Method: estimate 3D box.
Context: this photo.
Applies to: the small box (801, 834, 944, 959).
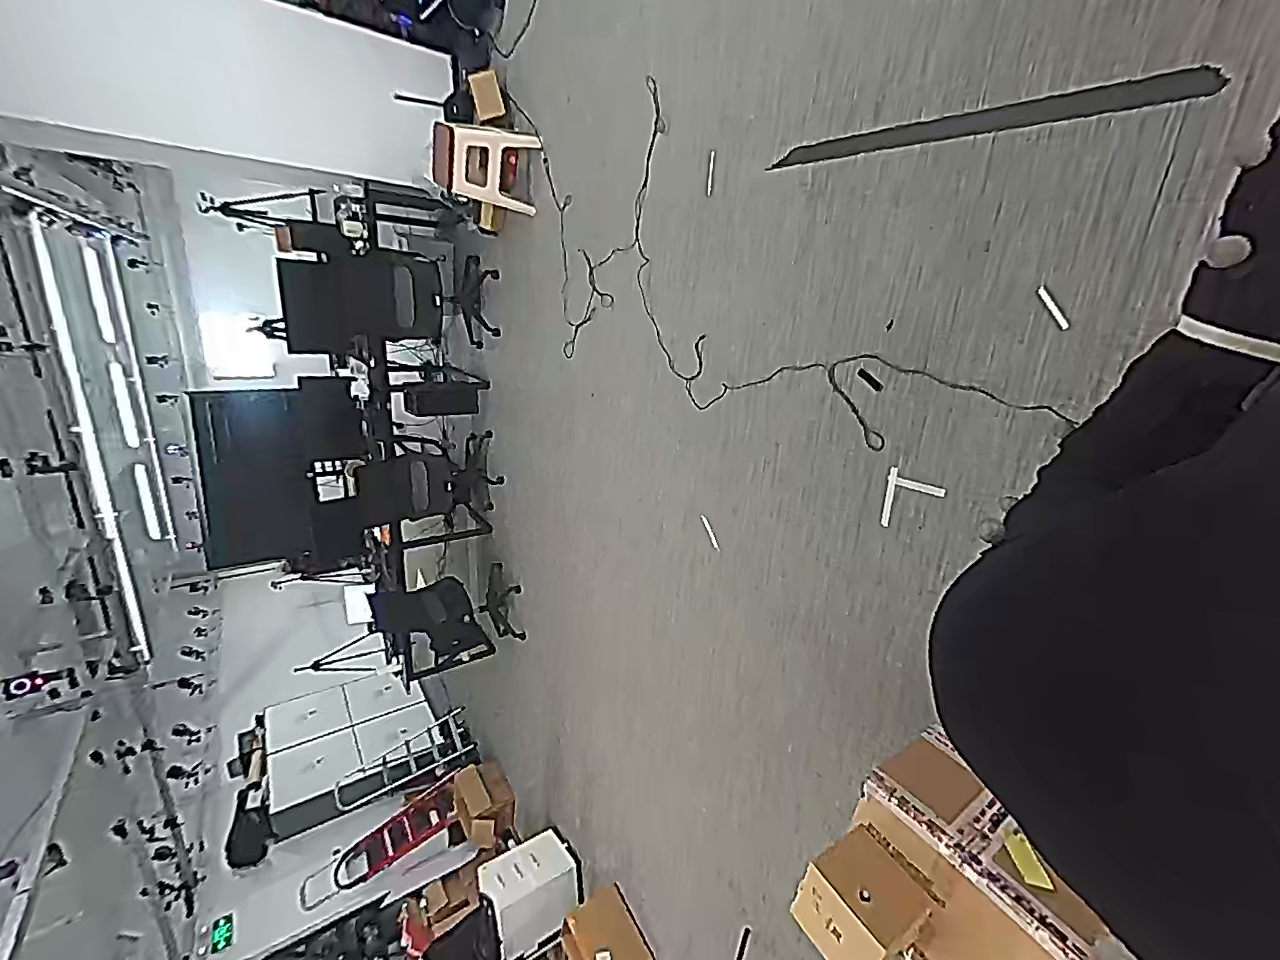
[{"bbox_3d":[0.457,0.854,1.066,0.179,0.176,0.168,38,125,48],"label":"small box"}]
